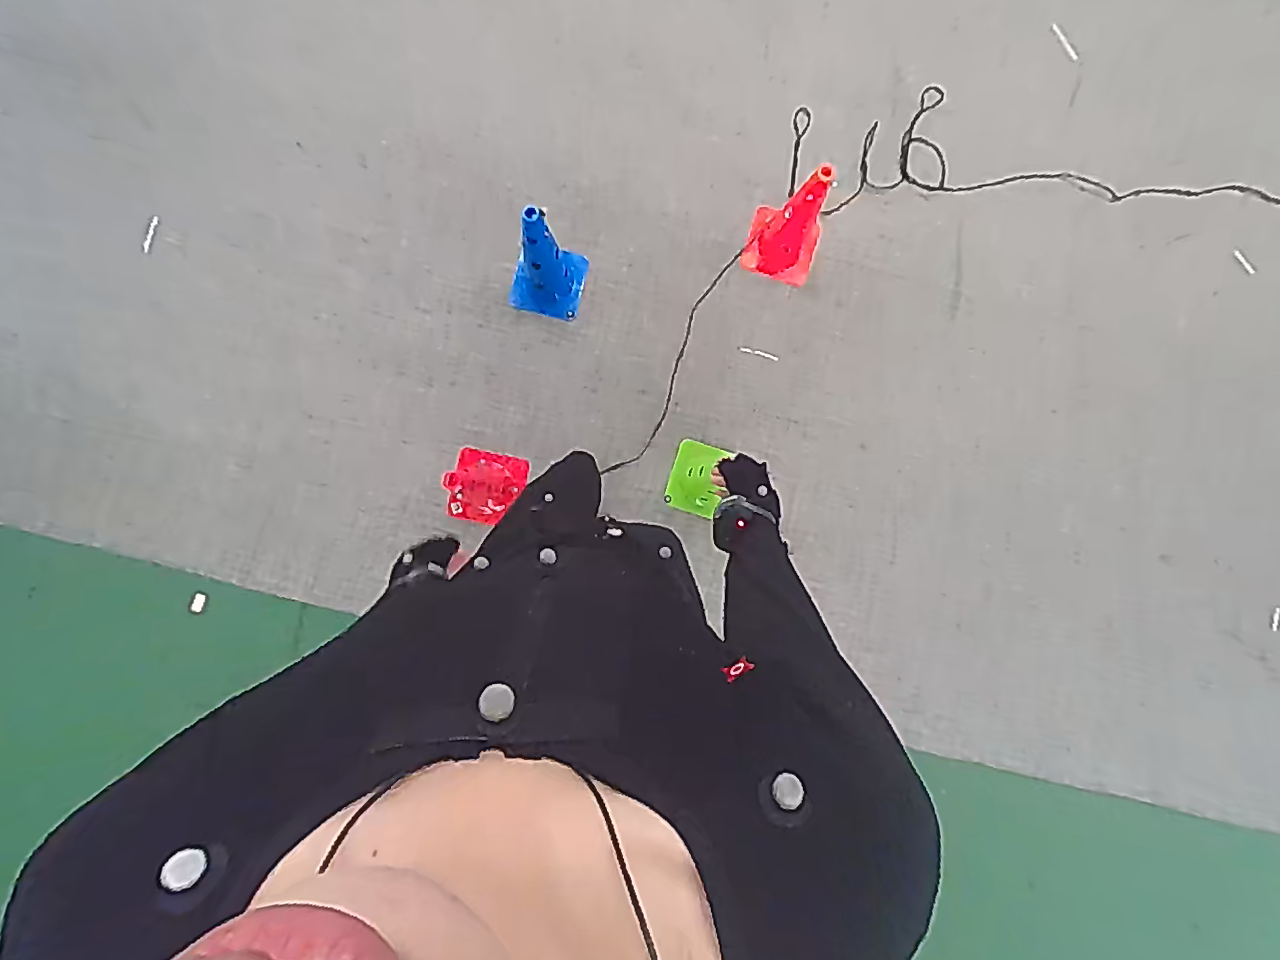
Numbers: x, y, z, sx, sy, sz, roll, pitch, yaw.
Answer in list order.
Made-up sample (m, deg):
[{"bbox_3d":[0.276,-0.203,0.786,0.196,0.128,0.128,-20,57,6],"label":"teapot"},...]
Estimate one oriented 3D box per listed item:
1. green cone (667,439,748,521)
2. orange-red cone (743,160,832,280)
[{"bbox_3d":[0.200,-0.013,1.363,0.200,0.368,0.202,17,85,-2],"label":"green cone"},{"bbox_3d":[0.422,-0.708,1.417,0.198,0.360,0.199,19,88,0],"label":"orange-red cone"}]
